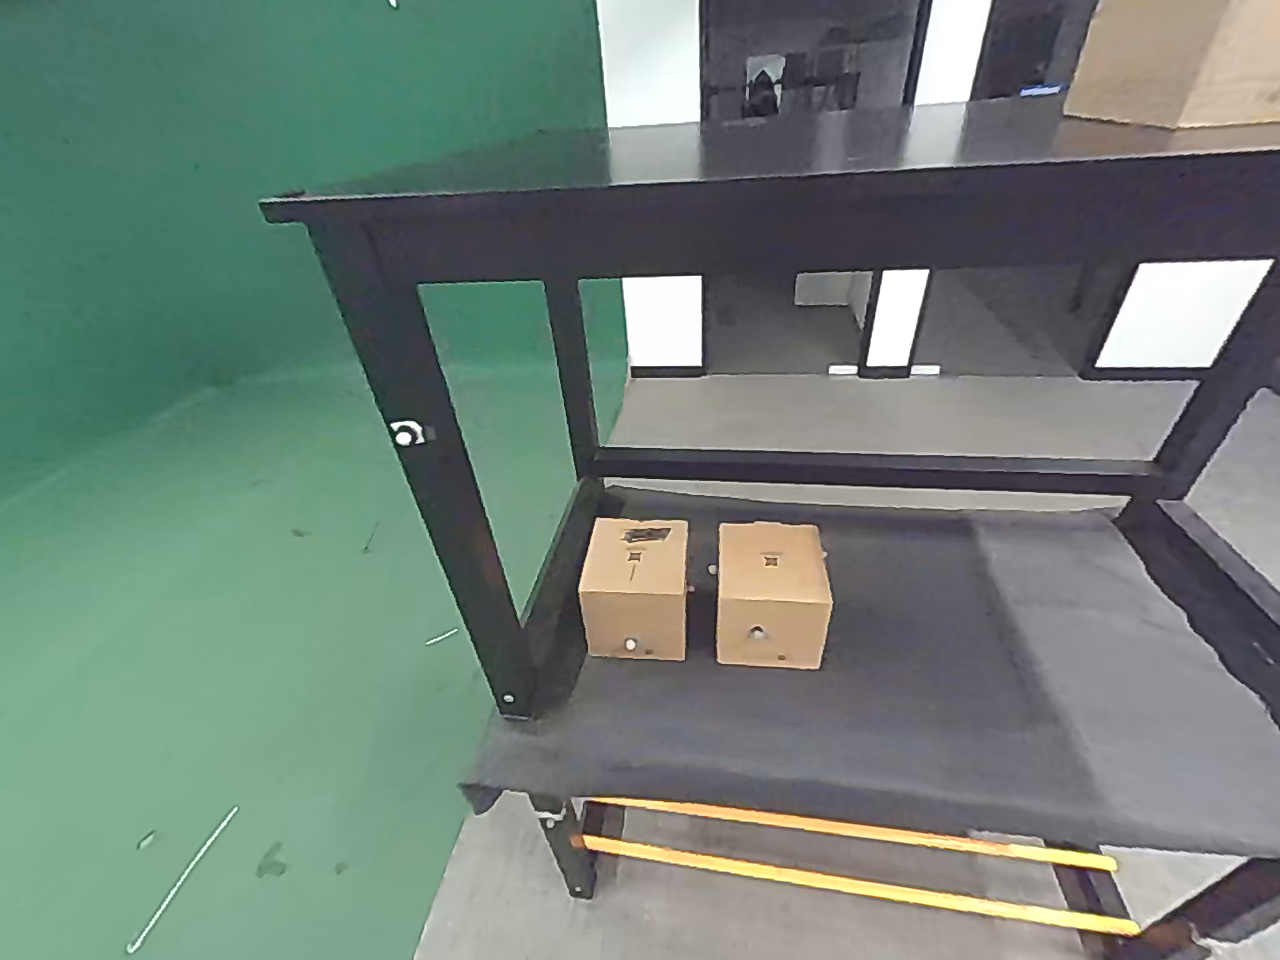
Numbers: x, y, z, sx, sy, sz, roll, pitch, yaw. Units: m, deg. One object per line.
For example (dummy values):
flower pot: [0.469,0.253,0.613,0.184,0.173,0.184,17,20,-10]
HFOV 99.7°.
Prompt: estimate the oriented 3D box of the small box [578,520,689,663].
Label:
small box: [-0.002,0.189,0.938,0.168,0.176,0.179,0,36,8]
